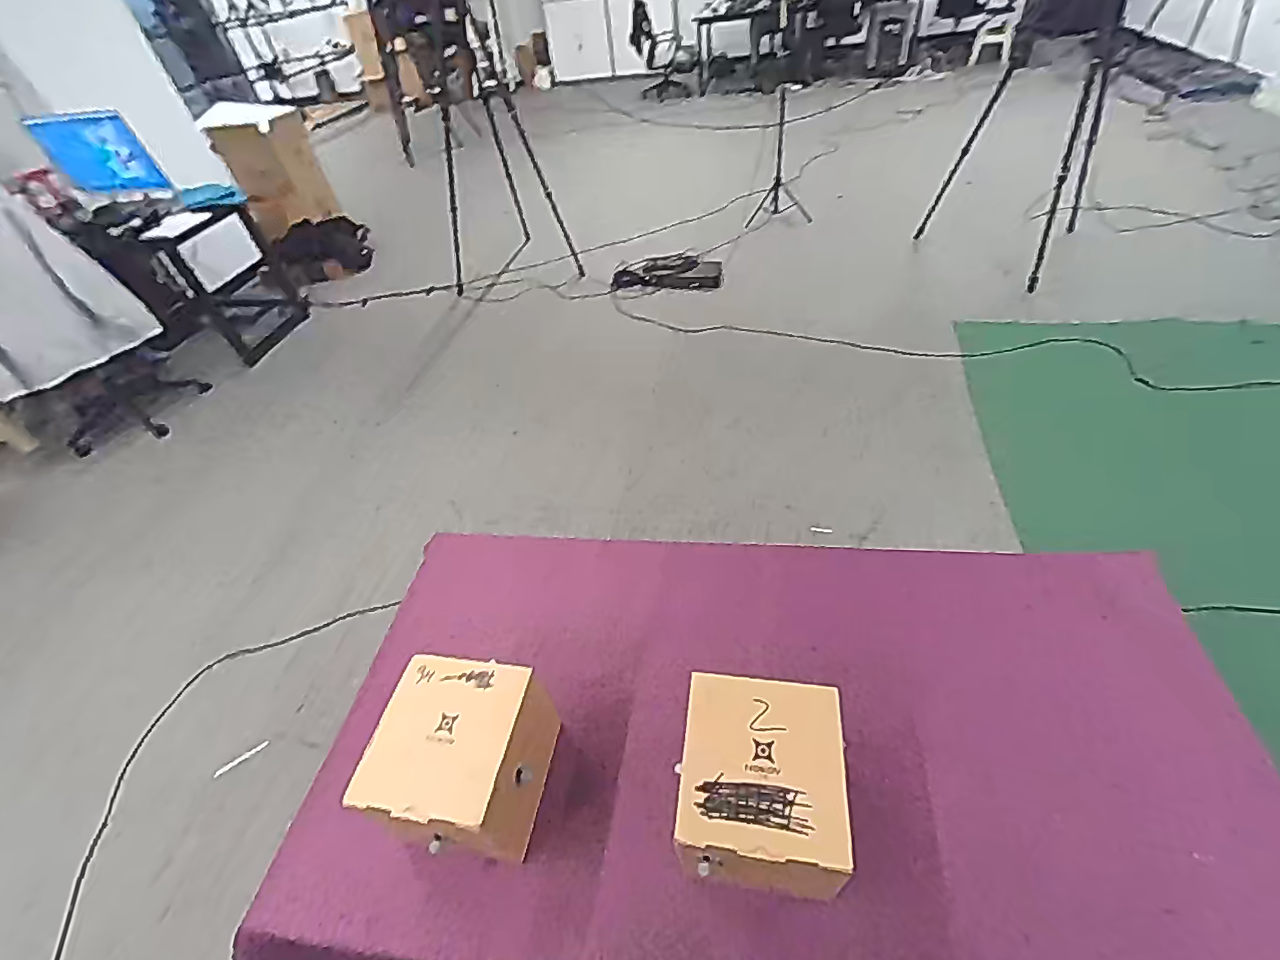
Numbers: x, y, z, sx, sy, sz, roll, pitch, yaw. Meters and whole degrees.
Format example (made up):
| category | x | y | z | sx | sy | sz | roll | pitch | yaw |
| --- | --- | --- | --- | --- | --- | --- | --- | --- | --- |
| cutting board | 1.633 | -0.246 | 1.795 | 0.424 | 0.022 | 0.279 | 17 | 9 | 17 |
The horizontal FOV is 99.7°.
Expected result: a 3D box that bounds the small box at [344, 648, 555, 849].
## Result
| category | x | y | z | sx | sy | sz | roll | pitch | yaw |
| --- | --- | --- | --- | --- | --- | --- | --- | --- | --- |
| small box | -0.218 | 0.339 | 0.679 | 0.168 | 0.176 | 0.179 | 4 | 47 | 11 |
